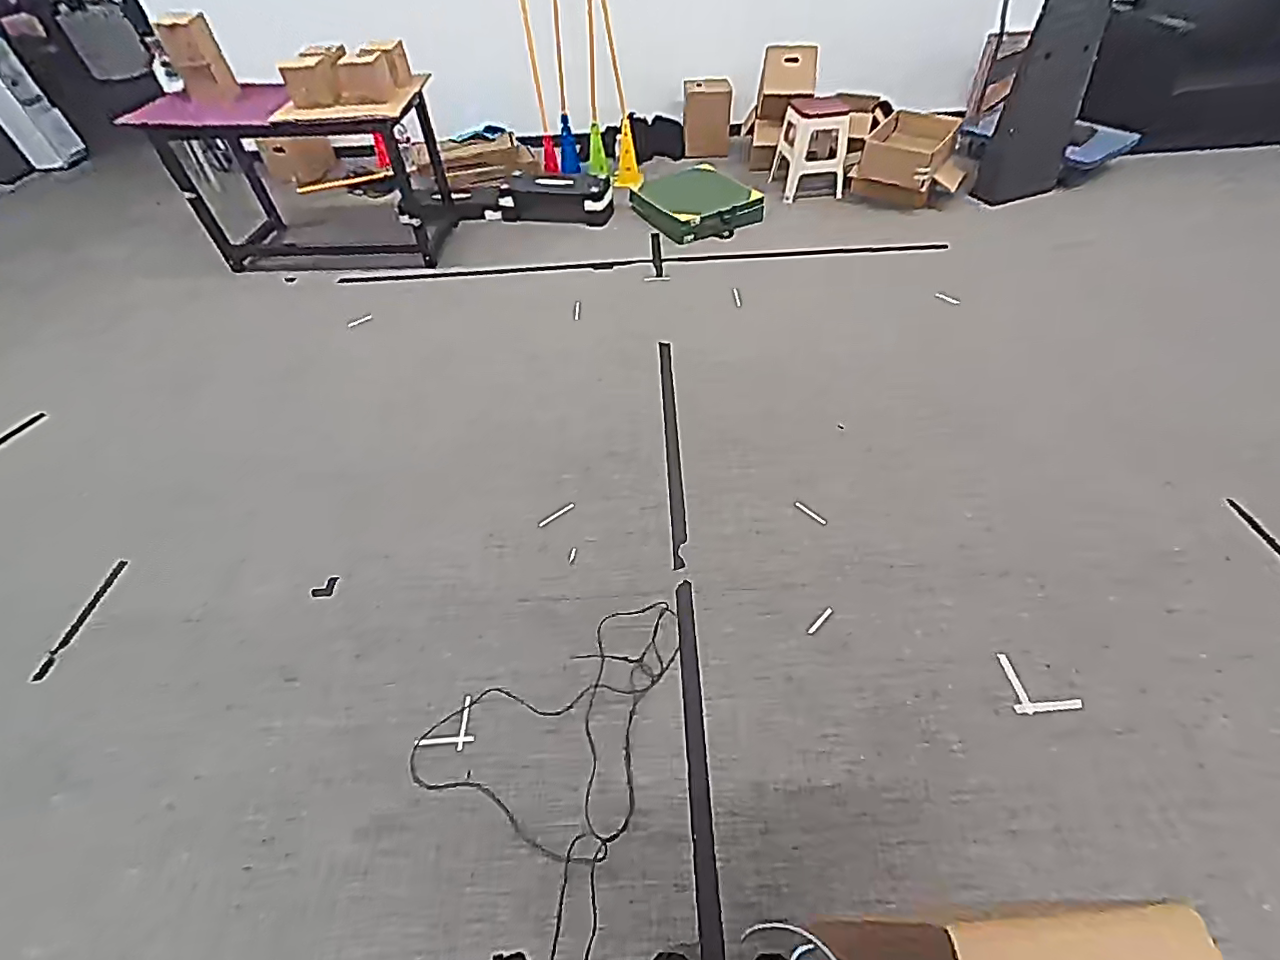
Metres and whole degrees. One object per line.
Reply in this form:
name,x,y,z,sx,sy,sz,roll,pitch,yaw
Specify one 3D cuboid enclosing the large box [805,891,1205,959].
large box,0.453,0.713,0.654,0.320,0.408,0.320,1,52,-8
